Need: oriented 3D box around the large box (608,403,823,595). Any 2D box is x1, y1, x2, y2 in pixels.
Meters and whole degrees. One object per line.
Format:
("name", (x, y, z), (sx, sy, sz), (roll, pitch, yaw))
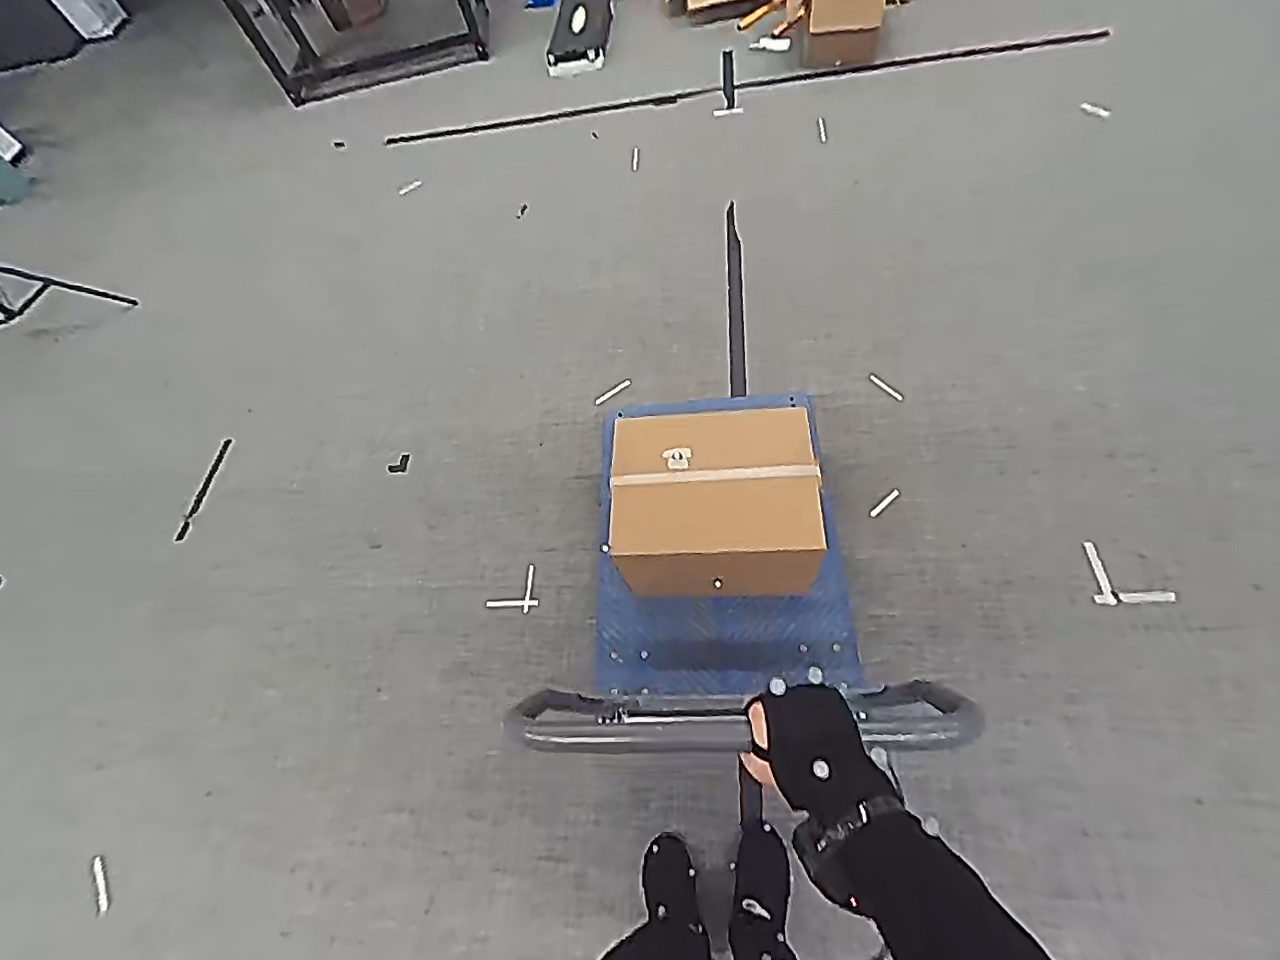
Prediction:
("large box", (0.162, 0.060, 1.198), (0.408, 0.320, 0.320), (-4, 61, 9))
